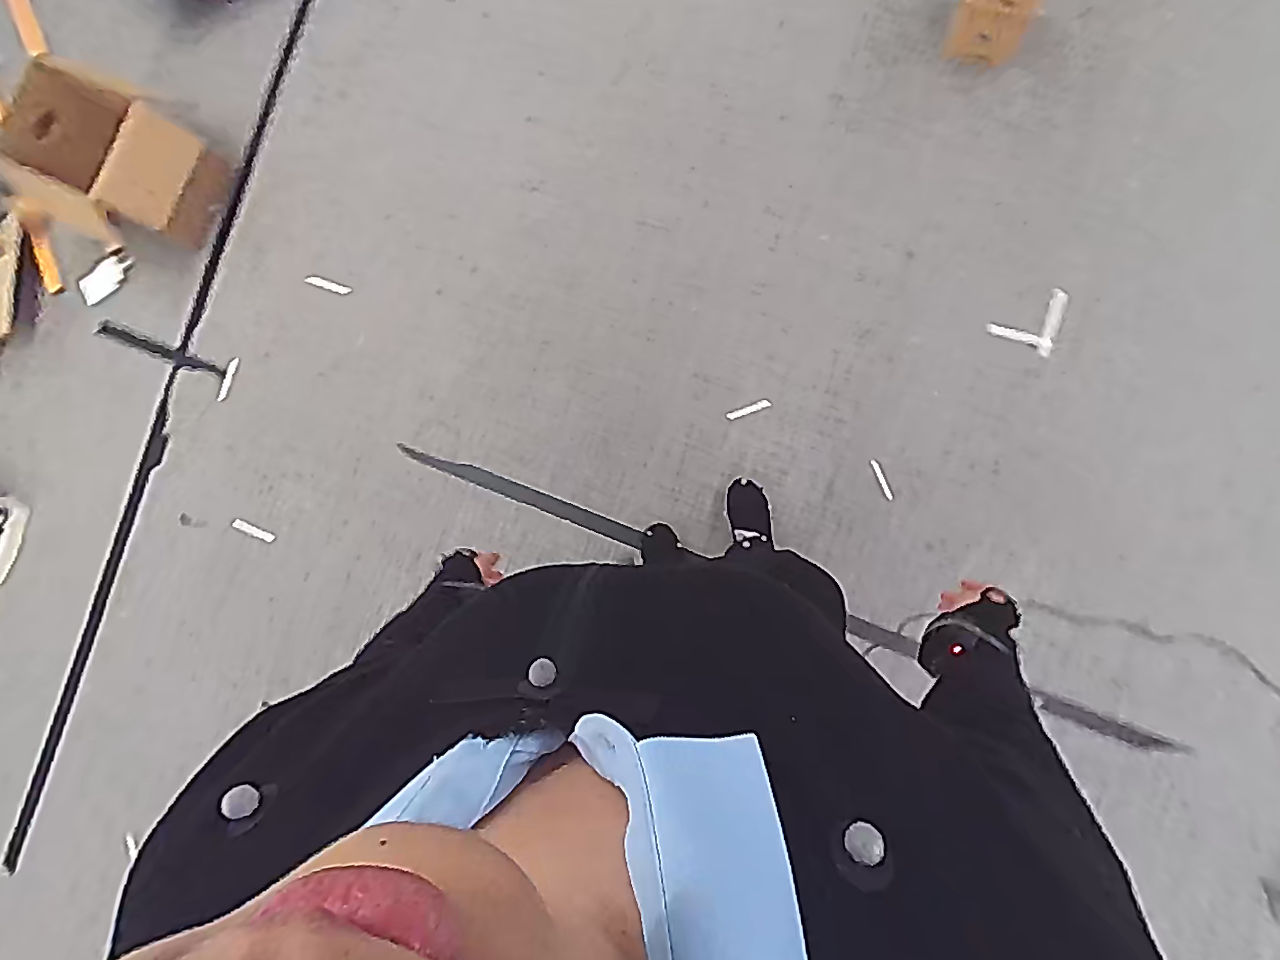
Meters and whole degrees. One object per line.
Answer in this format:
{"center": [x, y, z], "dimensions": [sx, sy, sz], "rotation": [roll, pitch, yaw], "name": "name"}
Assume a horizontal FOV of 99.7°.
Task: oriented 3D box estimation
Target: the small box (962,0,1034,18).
{"center": [0.861, -1.210, 1.216], "dimensions": [0.168, 0.176, 0.179], "rotation": [24, 91, 9], "name": "small box"}

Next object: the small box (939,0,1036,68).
{"center": [0.891, -1.204, 1.377], "dimensions": [0.168, 0.176, 0.179], "rotation": [17, 89, 8], "name": "small box"}
